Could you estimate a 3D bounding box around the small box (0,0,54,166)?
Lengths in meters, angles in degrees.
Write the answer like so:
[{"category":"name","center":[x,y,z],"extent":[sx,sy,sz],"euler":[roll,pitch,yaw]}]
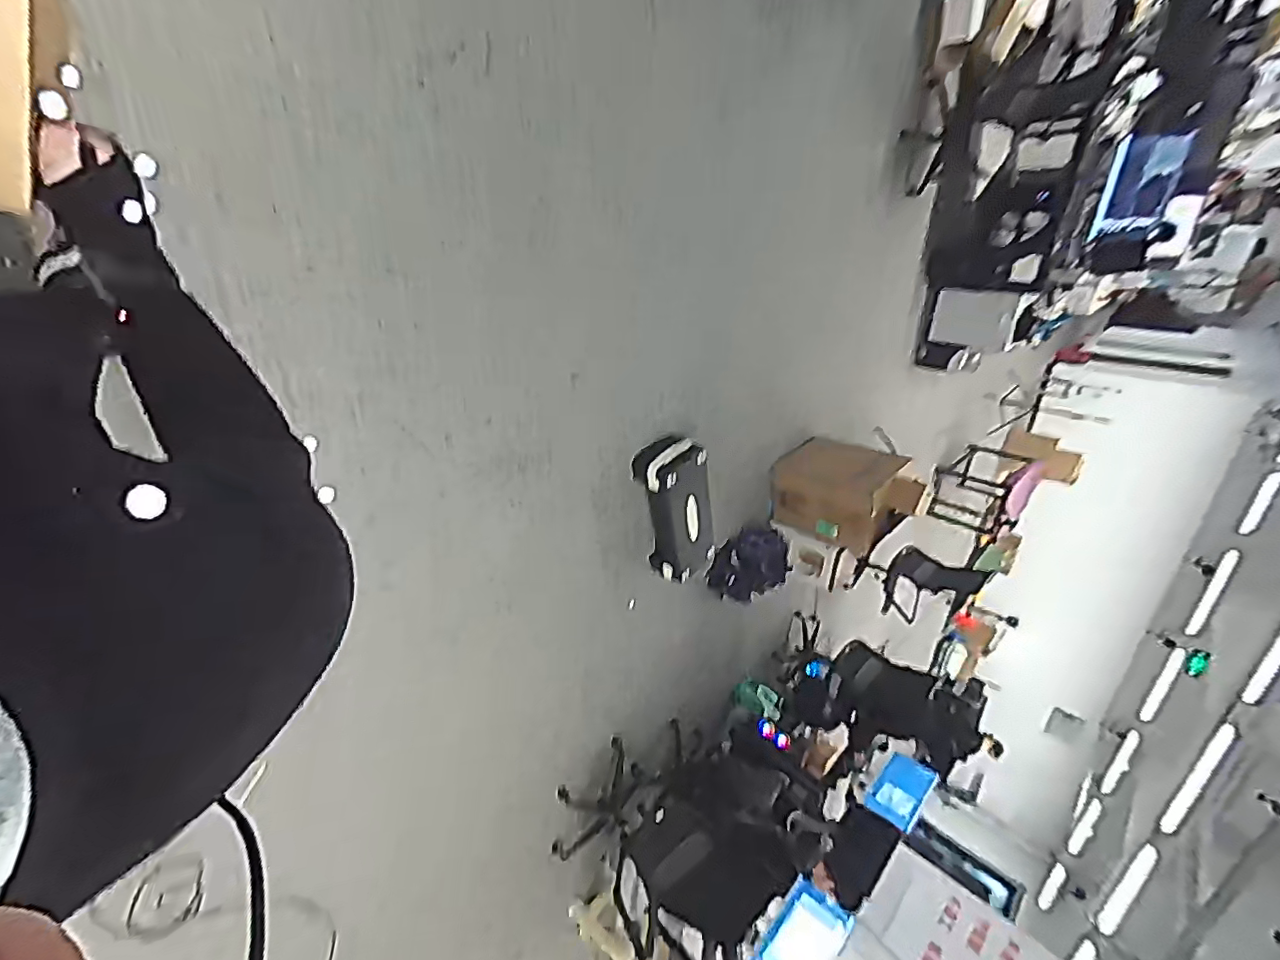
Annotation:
[{"category":"small box","center":[-0.617,-0.397,0.450],"extent":[0.168,0.176,0.179],"euler":[0,120,-44]}]
